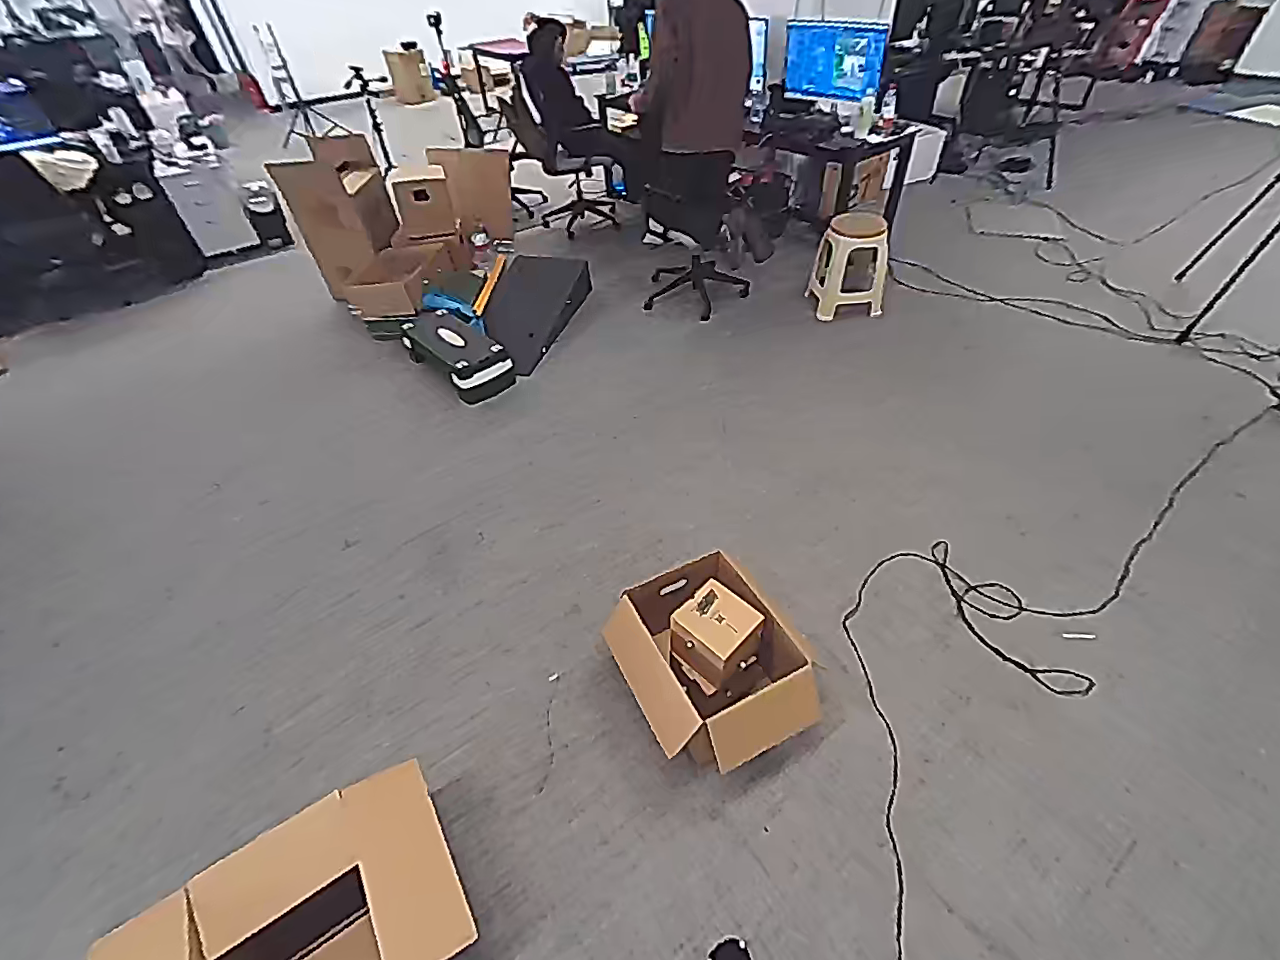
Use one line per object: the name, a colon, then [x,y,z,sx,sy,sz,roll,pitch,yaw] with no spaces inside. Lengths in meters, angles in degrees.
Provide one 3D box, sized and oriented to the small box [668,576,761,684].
small box: [0.191,0.394,1.412,0.168,0.176,0.179,-34,51,-26]
